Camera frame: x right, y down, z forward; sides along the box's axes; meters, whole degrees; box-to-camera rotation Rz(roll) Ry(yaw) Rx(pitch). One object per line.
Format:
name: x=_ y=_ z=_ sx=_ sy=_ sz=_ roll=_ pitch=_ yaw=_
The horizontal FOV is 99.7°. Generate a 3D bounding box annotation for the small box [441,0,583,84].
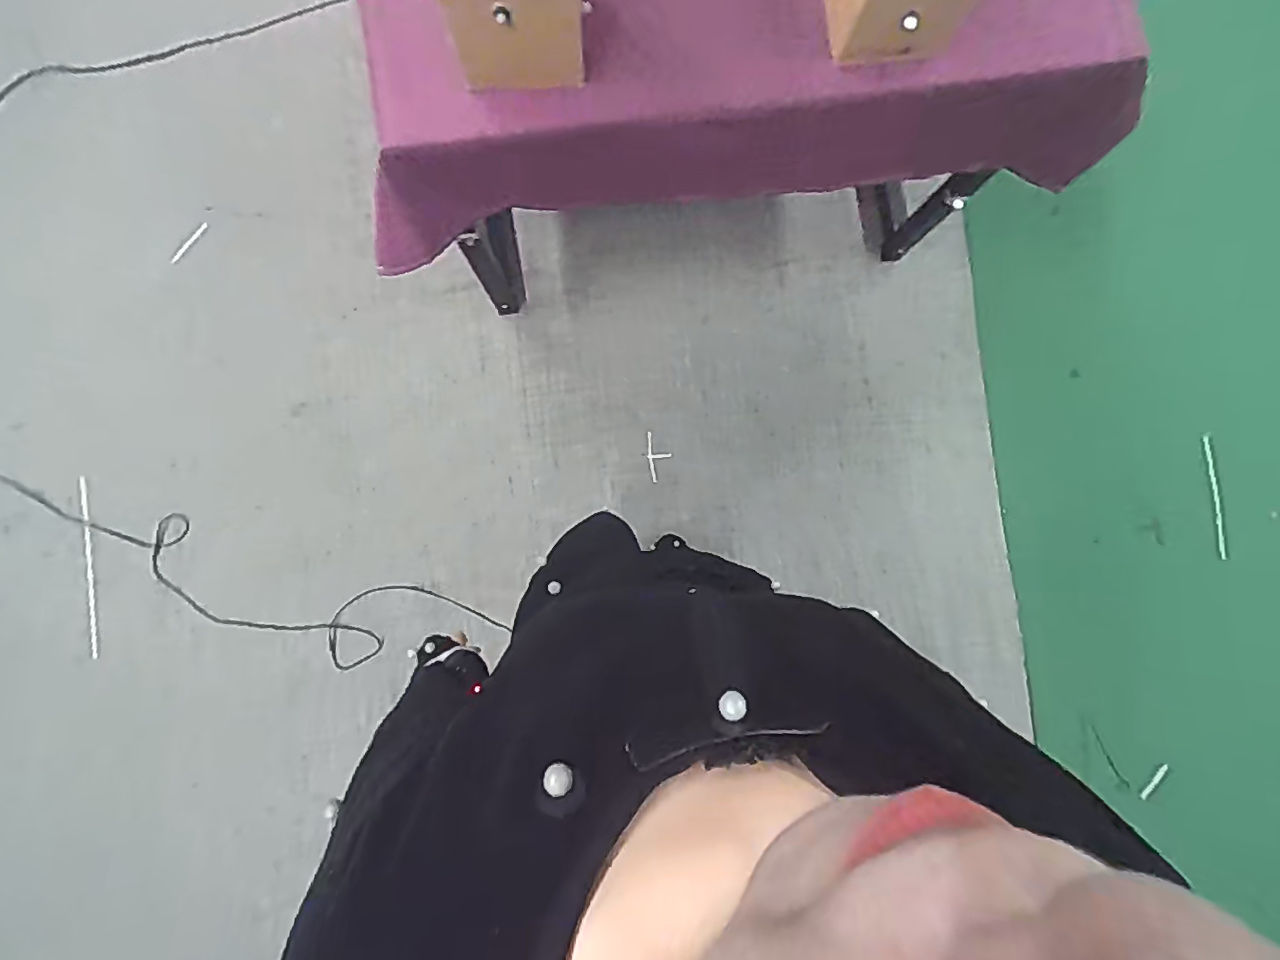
small box: x=-0.174 y=-0.671 z=0.726 sx=0.179 sy=0.176 sz=0.168 roll=-5 pitch=87 yaw=-4

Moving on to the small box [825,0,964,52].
small box: x=0.369 y=-0.741 z=0.755 sx=0.168 sy=0.176 sz=0.179 roll=-7 pitch=87 yaw=-3
